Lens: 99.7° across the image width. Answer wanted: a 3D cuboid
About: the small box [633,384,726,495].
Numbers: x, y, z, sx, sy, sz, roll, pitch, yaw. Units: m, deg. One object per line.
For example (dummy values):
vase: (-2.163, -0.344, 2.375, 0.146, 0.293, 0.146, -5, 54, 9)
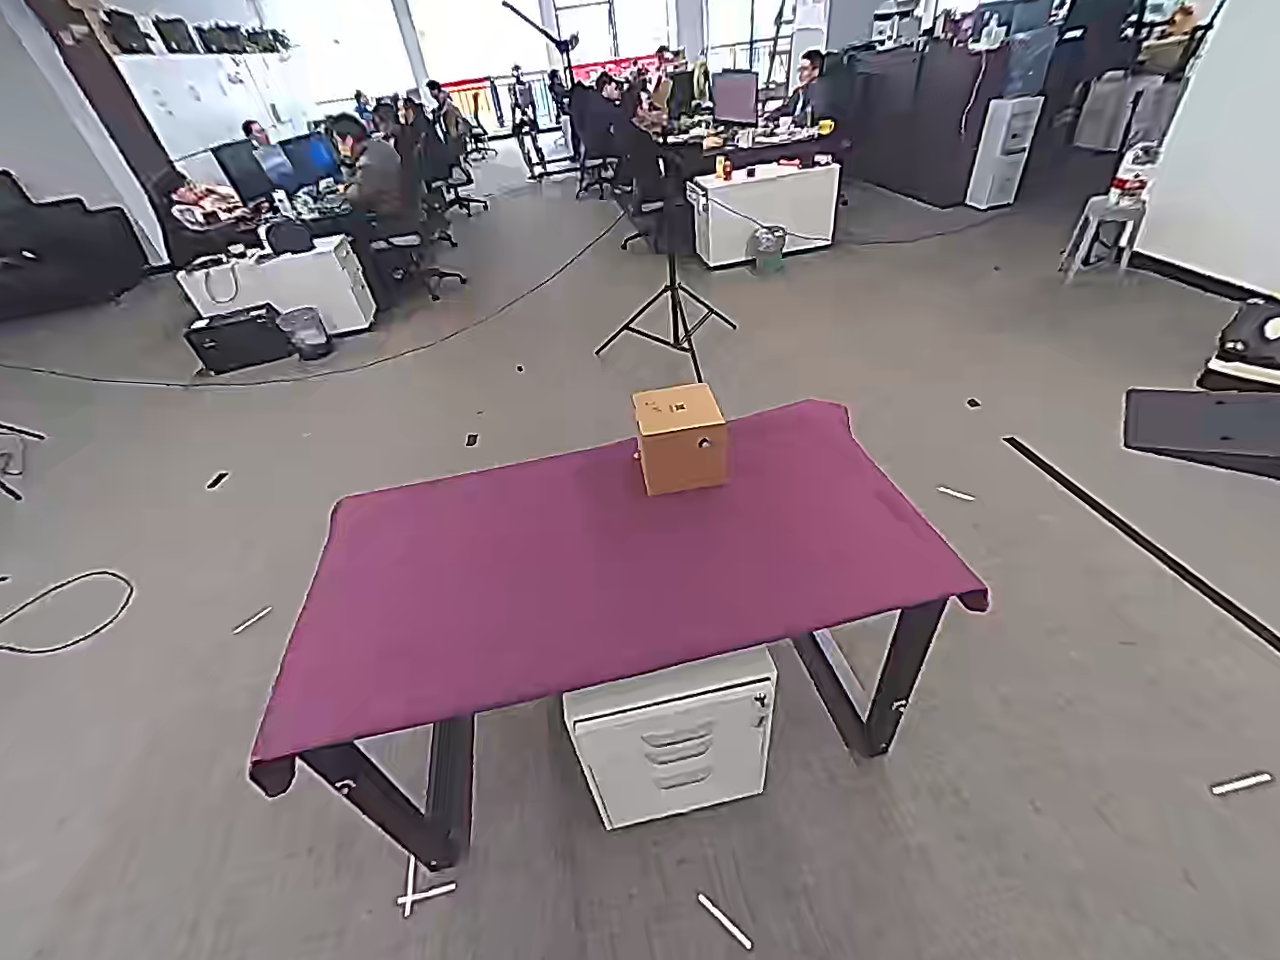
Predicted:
small box: (0.087, -0.088, 1.200, 0.179, 0.176, 0.168, -10, 40, -2)
